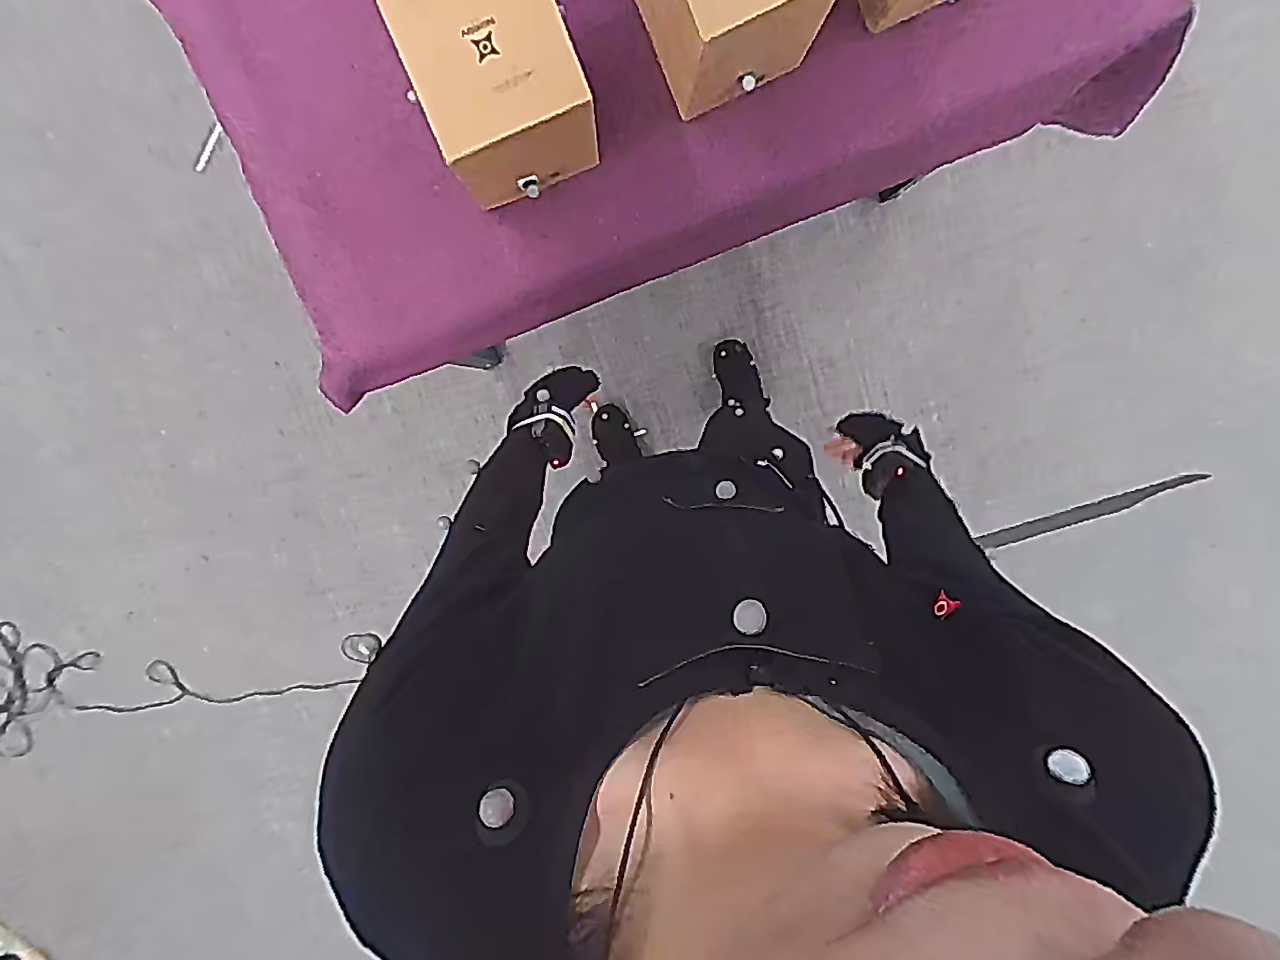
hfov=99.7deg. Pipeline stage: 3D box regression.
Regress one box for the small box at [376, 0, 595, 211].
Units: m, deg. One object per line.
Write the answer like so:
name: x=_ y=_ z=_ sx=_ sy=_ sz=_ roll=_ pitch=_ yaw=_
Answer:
small box: x=-0.159 y=-0.444 z=0.613 sx=0.168 sy=0.176 sz=0.179 roll=-22 pitch=100 yaw=2

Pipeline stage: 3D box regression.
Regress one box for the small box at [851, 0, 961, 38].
small box: x=0.341 y=-0.655 z=0.599 sx=0.179 sy=0.176 sz=0.168 roll=-24 pitch=98 yaw=1

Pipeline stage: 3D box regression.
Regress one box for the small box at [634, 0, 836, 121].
small box: x=0.096 y=-0.556 z=0.605 sx=0.168 sy=0.176 sz=0.179 roll=-24 pitch=99 yaw=2
